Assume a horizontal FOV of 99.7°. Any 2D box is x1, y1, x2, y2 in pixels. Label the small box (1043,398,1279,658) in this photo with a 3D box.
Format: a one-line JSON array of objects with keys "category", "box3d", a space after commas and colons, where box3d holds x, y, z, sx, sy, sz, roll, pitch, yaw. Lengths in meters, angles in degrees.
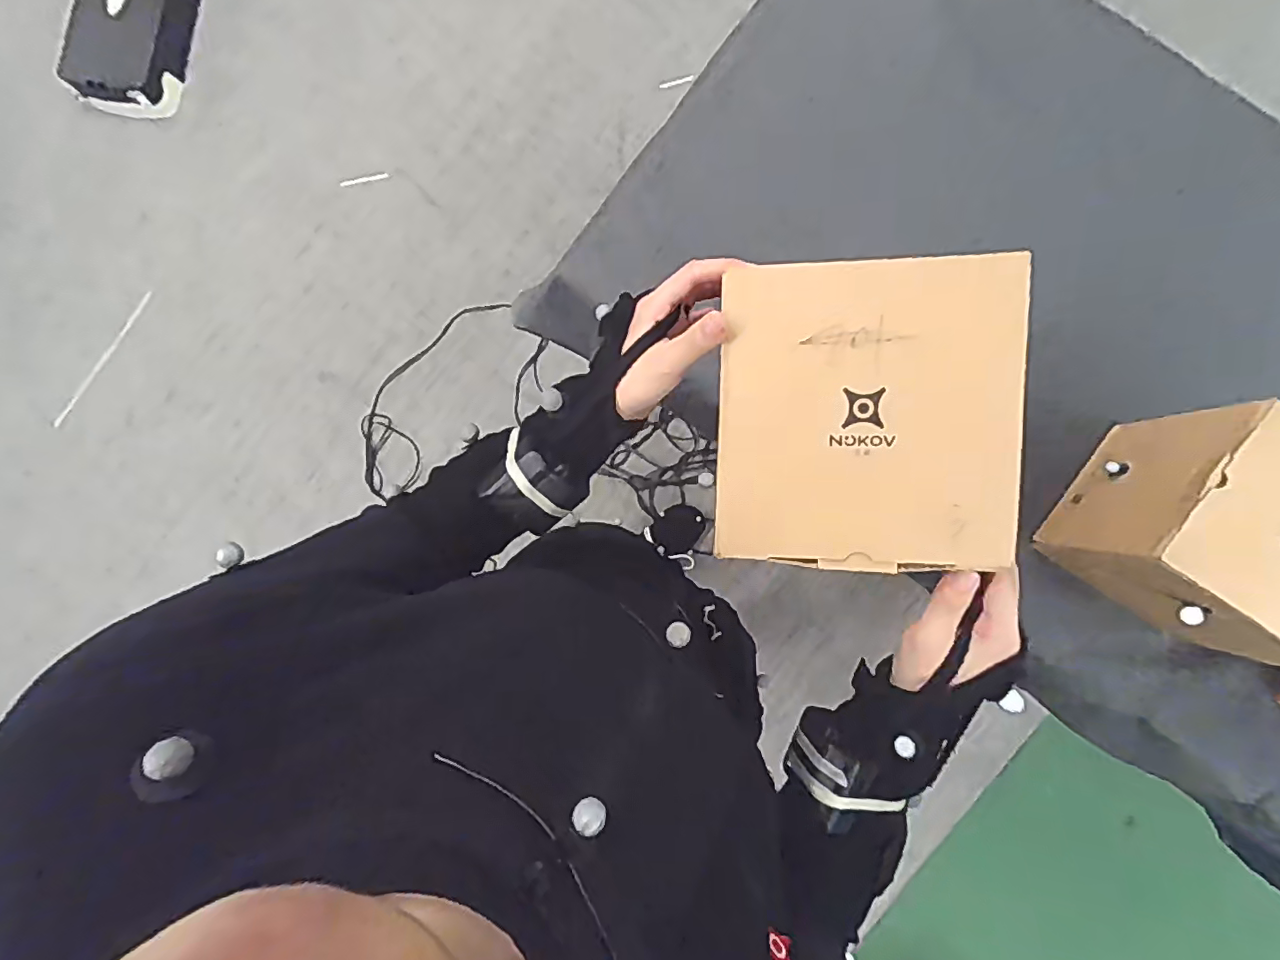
[{"category": "small box", "box3d": [0.551, 0.047, 0.513, 0.179, 0.176, 0.168, 35, 91, 6]}]
